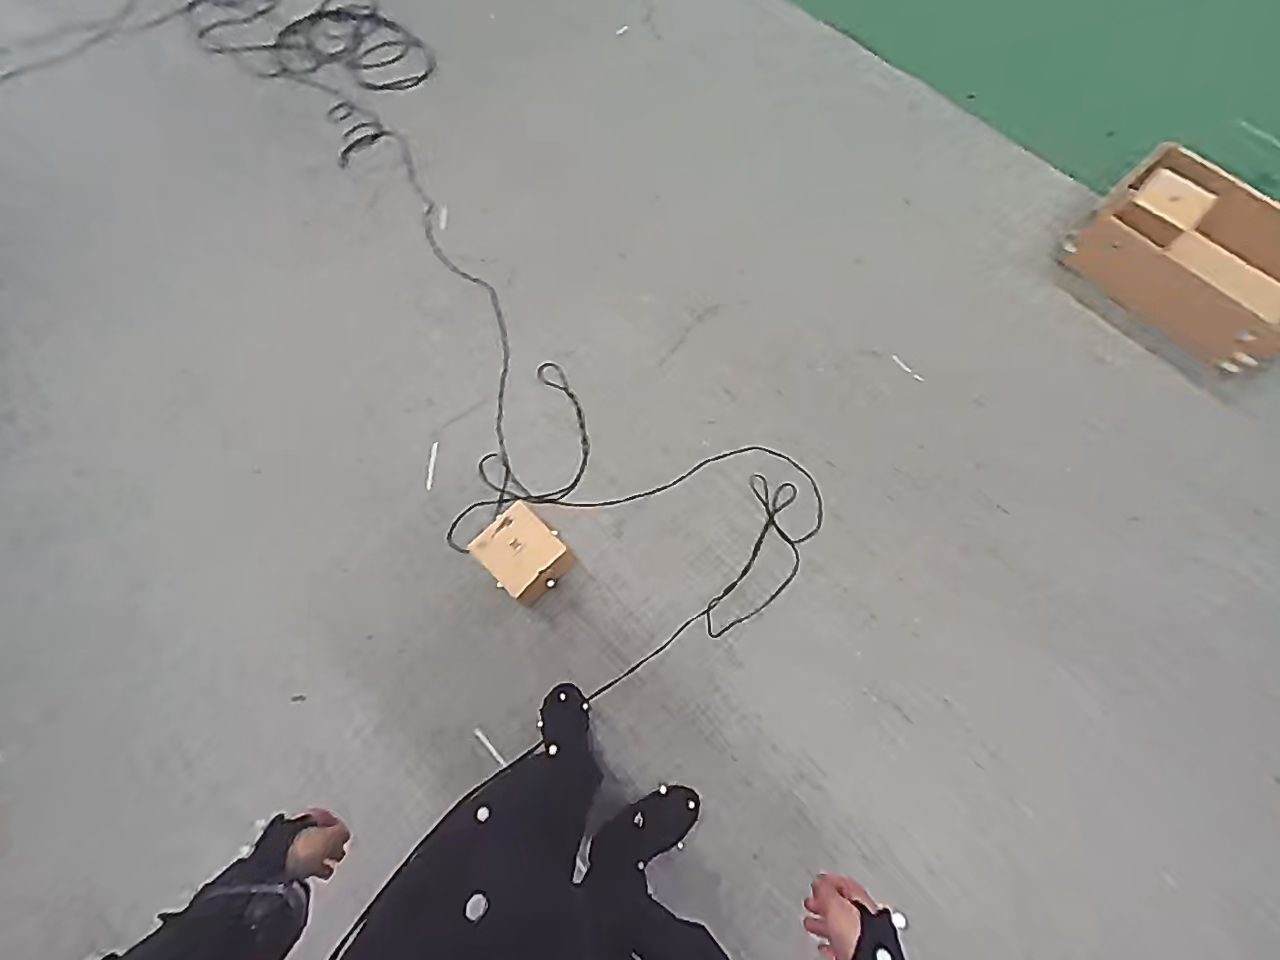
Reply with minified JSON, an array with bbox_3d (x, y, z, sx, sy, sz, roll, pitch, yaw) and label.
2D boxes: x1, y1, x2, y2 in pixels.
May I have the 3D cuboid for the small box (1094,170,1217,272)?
[{"bbox_3d":[1.508,-0.759,1.596,0.179,0.176,0.168,-44,76,-12],"label":"small box"}]

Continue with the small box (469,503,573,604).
[{"bbox_3d":[-0.283,0.189,1.329,0.179,0.176,0.168,43,76,13],"label":"small box"}]
